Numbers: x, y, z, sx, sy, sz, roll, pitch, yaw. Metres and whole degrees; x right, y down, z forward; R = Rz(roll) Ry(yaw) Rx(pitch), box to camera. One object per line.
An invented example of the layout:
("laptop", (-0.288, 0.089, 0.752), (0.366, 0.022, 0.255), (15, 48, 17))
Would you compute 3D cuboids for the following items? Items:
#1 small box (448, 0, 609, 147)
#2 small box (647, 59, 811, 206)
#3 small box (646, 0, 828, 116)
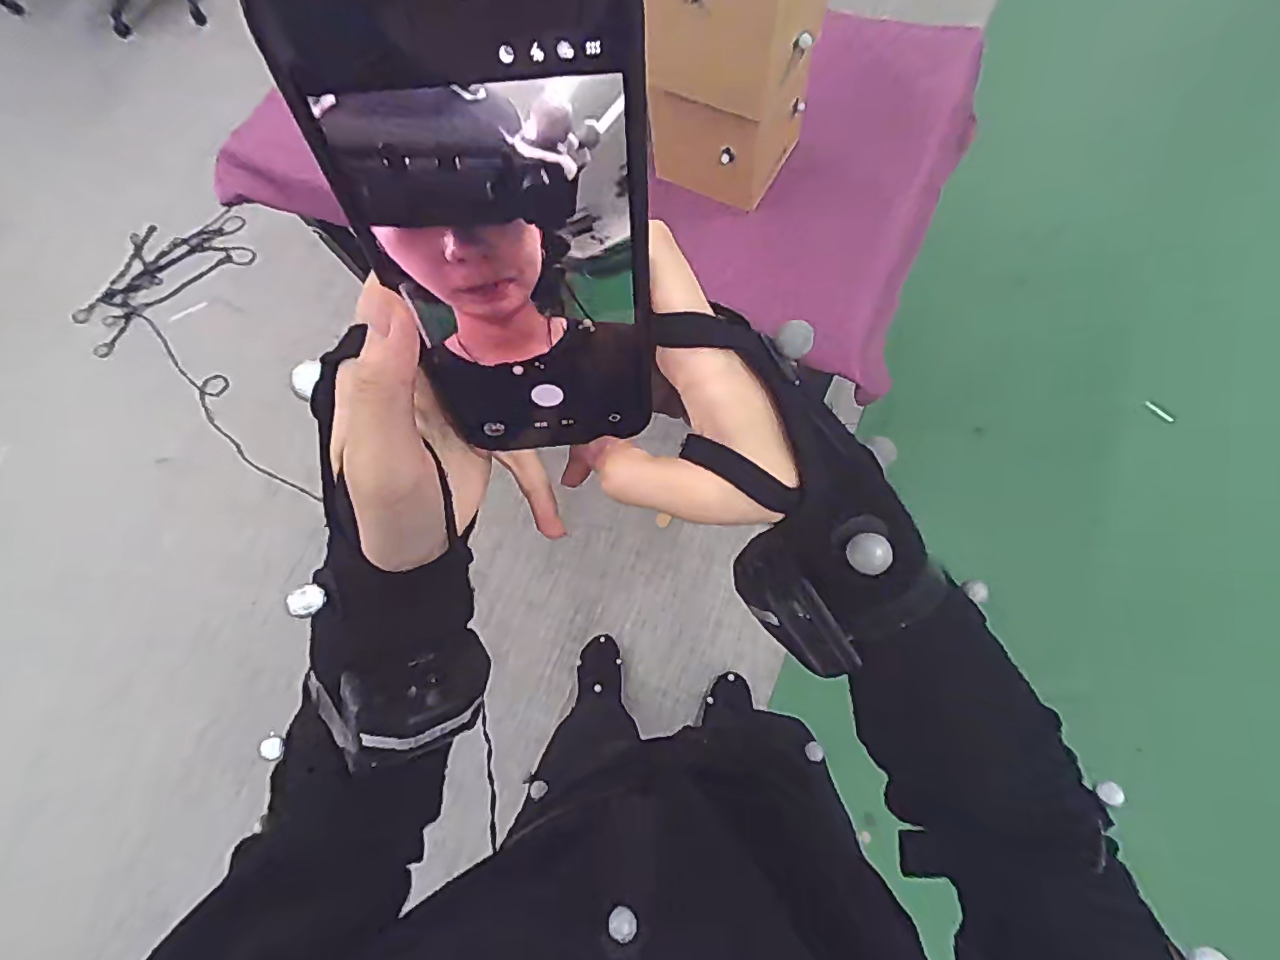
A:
("small box", (-0.166, -0.684, 0.879), (0.179, 0.176, 0.168), (23, 76, 14))
("small box", (0.133, -0.543, 0.798), (0.179, 0.176, 0.168), (29, 78, 15))
("small box", (0.115, -0.576, 0.638), (0.179, 0.176, 0.168), (29, 78, 14))
